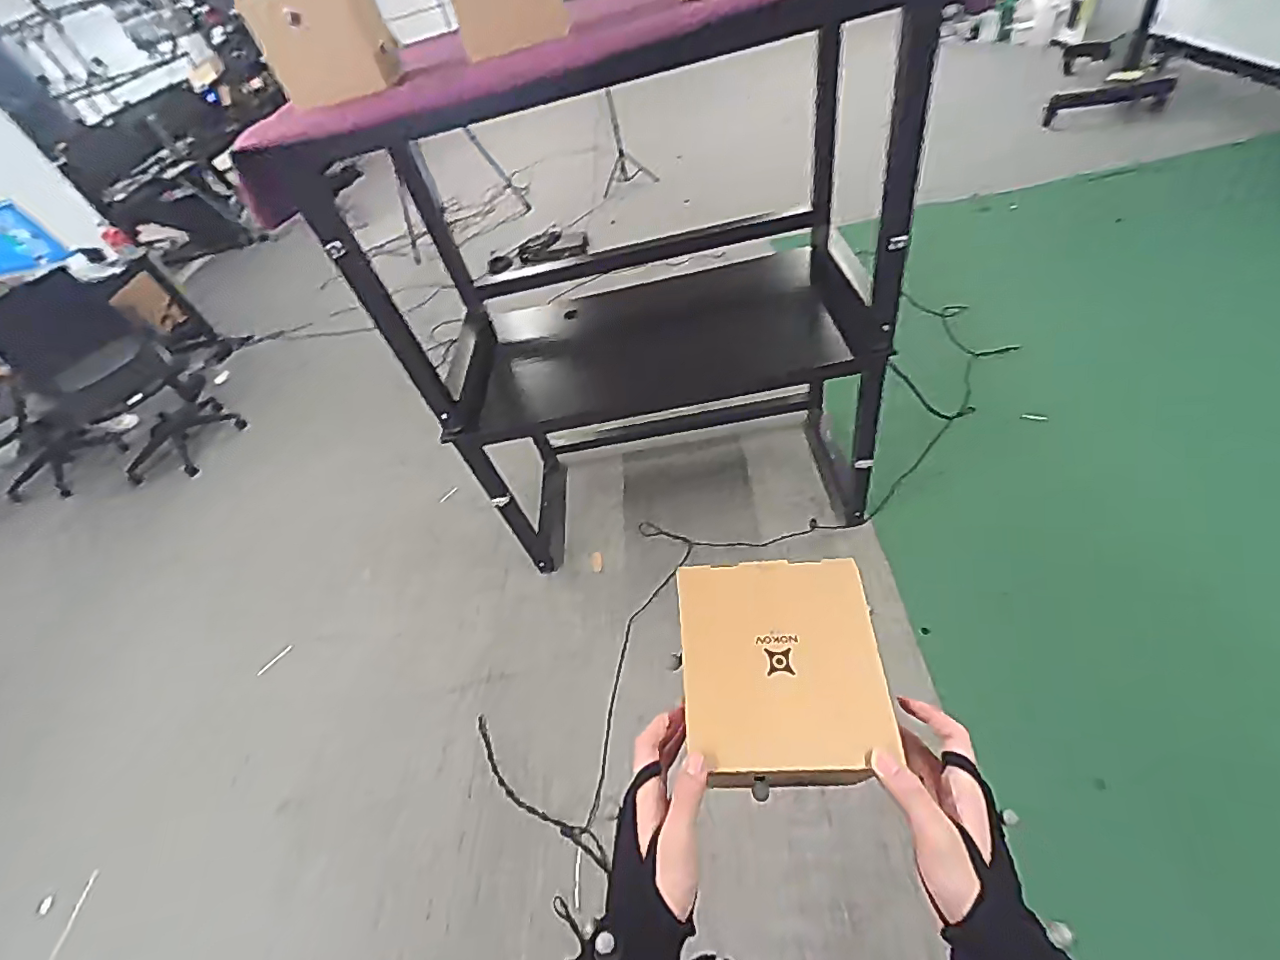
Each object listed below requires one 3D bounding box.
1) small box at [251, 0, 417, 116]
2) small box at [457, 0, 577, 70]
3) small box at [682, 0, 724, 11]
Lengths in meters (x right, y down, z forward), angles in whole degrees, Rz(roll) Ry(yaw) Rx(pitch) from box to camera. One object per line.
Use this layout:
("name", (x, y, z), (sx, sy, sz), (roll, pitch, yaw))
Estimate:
("small box", (-0.540, -0.789, 0.981), (0.179, 0.176, 0.168), (-11, 47, 5))
("small box", (-0.216, -0.853, 0.945), (0.179, 0.176, 0.168), (-9, 46, 8))
("small box", (0.148, -0.911, 0.890), (0.179, 0.176, 0.168), (-9, 45, 8))
